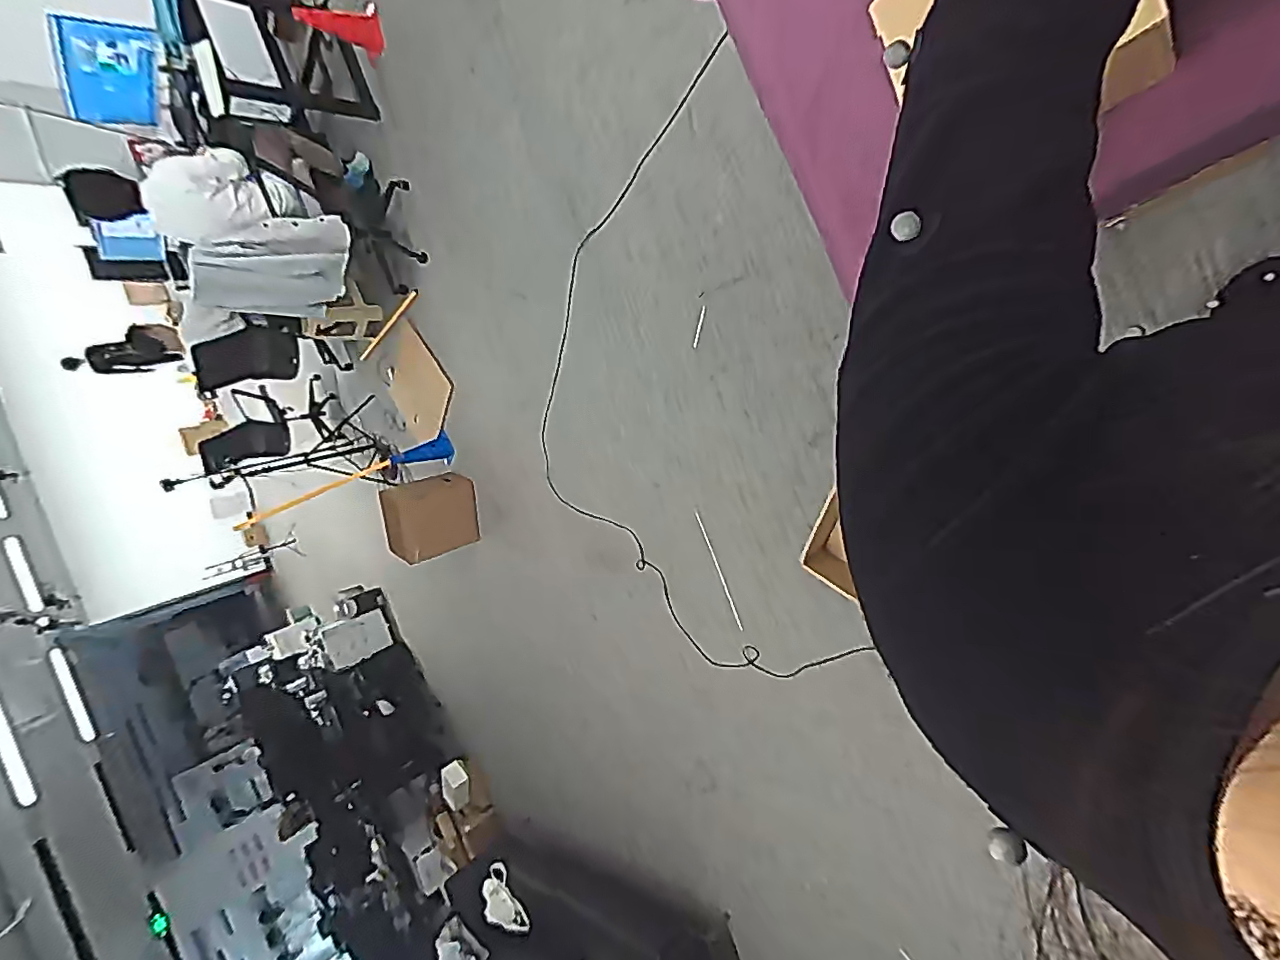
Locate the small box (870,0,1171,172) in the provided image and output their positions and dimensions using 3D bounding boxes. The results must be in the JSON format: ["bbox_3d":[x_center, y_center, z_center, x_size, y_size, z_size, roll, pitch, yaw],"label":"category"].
[{"bbox_3d":[0.356,-0.420,0.509,0.179,0.176,0.168,-18,94,49],"label":"small box"}]
